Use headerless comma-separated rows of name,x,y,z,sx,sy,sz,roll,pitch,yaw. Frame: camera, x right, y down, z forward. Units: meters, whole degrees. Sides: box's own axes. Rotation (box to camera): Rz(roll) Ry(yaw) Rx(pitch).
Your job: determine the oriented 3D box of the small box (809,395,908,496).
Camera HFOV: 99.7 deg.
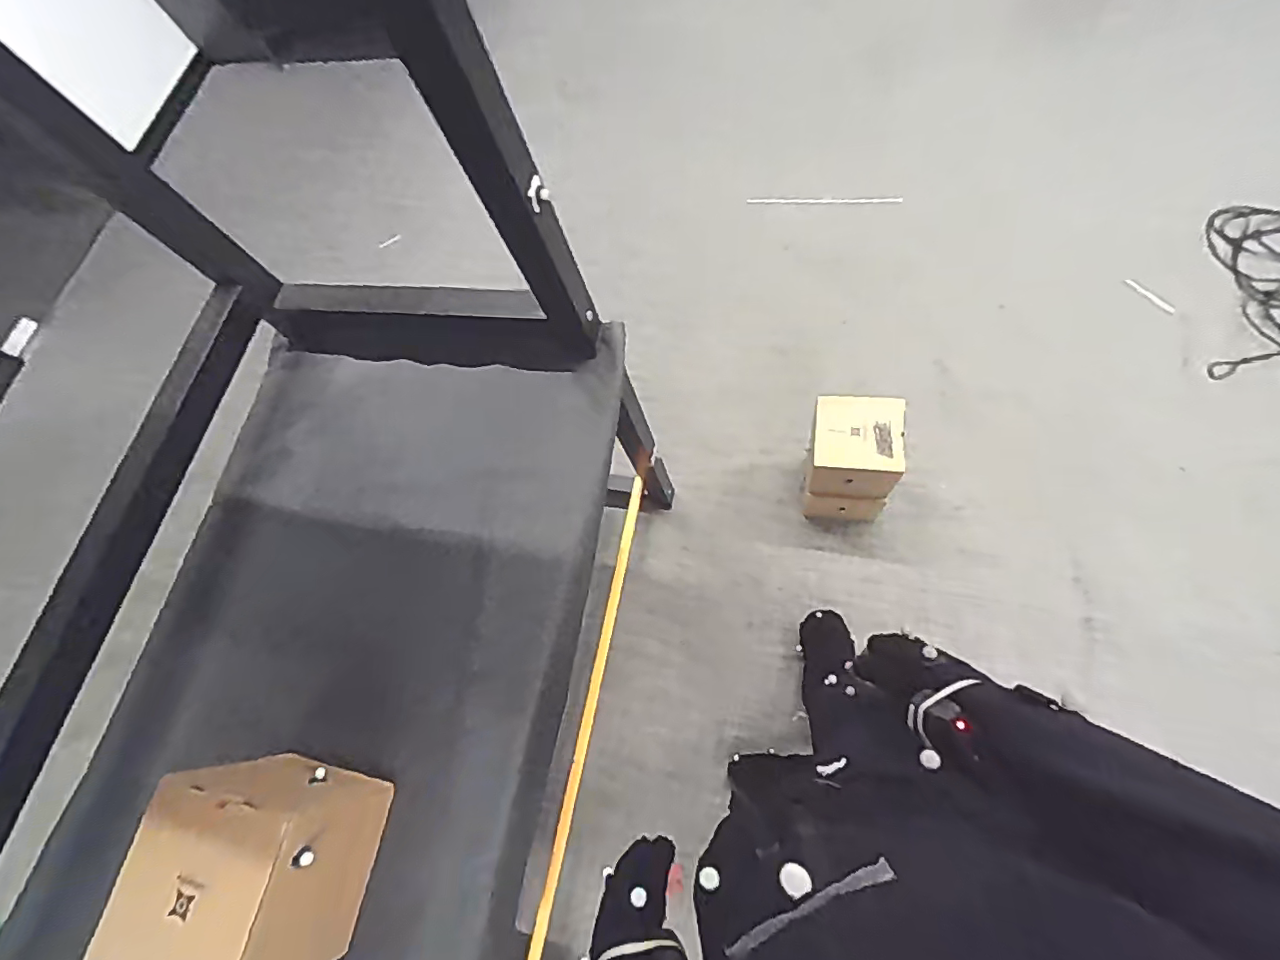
small box,0.470,-0.070,1.177,0.179,0.176,0.168,5,71,15
